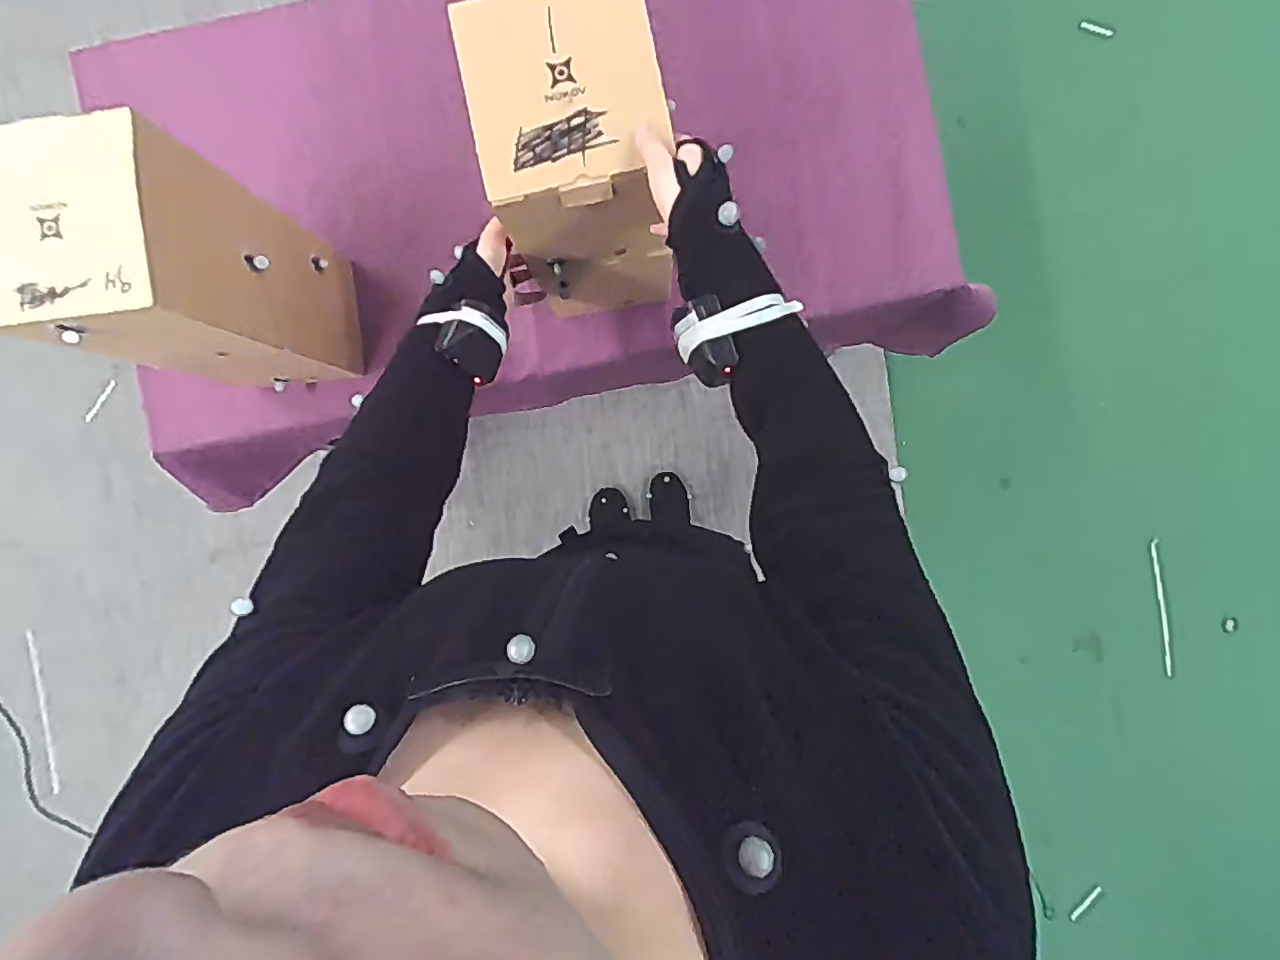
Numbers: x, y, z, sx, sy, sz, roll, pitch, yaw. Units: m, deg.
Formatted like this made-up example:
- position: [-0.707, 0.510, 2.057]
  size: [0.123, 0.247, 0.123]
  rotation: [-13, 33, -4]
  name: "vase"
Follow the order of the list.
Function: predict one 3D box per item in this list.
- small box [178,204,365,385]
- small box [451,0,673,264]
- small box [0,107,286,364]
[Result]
- position: [-0.493, -0.232, 0.716]
  size: [0.168, 0.176, 0.179]
  rotation: [-6, 91, 3]
  name: "small box"
- position: [-0.062, -0.334, 0.535]
  size: [0.168, 0.176, 0.179]
  rotation: [-12, 89, 2]
  name: "small box"
- position: [-0.500, -0.230, 0.551]
  size: [0.168, 0.176, 0.179]
  rotation: [-6, 90, 3]
  name: "small box"
